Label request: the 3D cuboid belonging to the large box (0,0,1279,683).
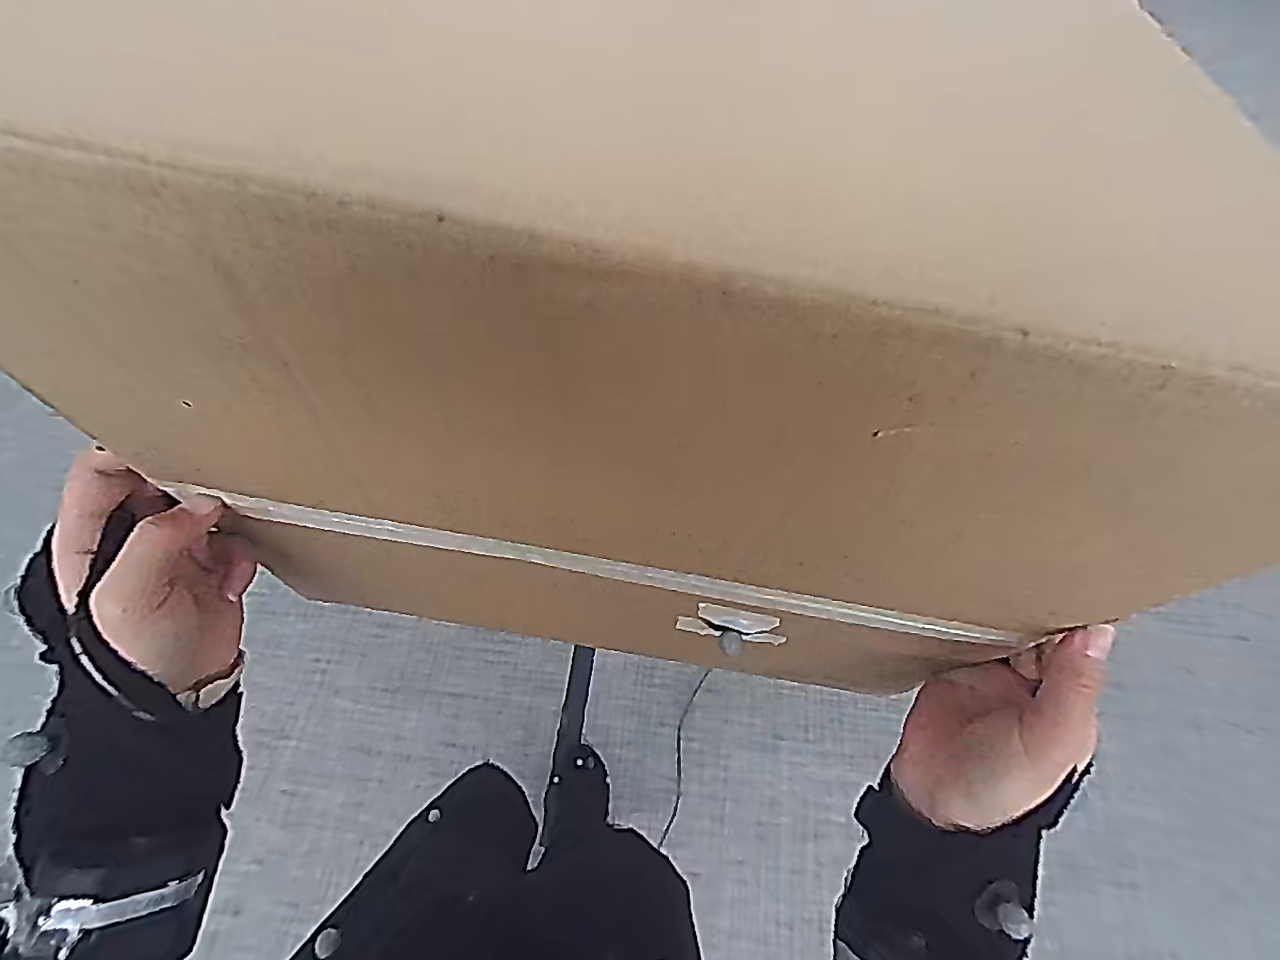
[{"bbox_3d":[0.006,-0.092,0.332,0.408,0.320,0.320,9,59,-2],"label":"large box"}]
